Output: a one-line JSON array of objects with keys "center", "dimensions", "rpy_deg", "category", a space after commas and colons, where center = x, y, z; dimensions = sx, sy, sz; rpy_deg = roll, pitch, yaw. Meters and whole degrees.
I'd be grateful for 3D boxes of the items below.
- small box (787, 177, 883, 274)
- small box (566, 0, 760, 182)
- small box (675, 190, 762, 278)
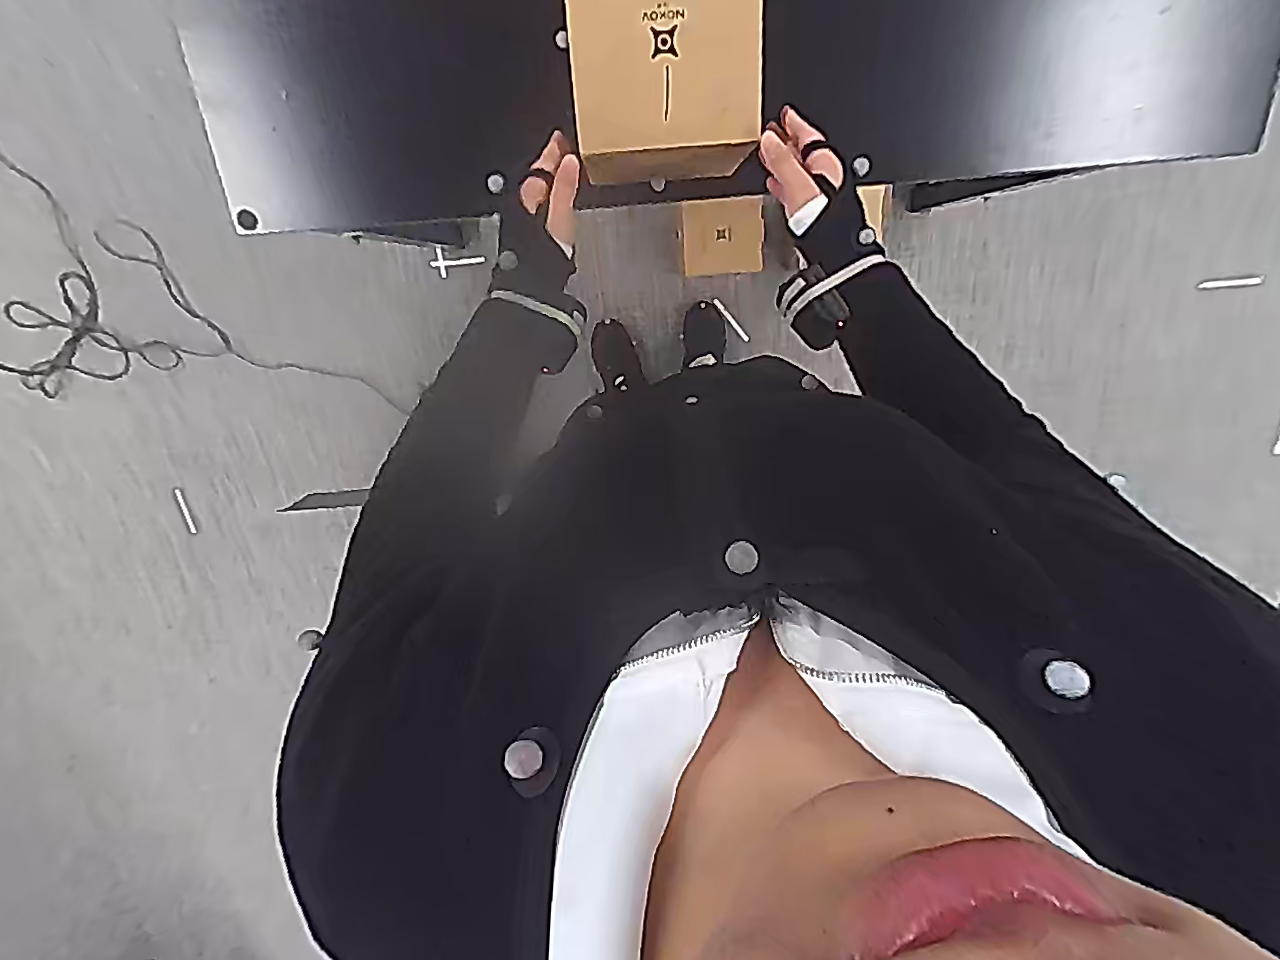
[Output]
[{"center": [0.440, -0.579, 1.248], "dimensions": [0.168, 0.176, 0.179], "rpy_deg": [-5, 110, 2], "category": "small box"}, {"center": [0.018, -0.409, 0.529], "dimensions": [0.168, 0.176, 0.179], "rpy_deg": [-4, 110, 1], "category": "small box"}, {"center": [0.178, -0.563, 1.253], "dimensions": [0.179, 0.176, 0.168], "rpy_deg": [-5, 109, 2], "category": "small box"}]
